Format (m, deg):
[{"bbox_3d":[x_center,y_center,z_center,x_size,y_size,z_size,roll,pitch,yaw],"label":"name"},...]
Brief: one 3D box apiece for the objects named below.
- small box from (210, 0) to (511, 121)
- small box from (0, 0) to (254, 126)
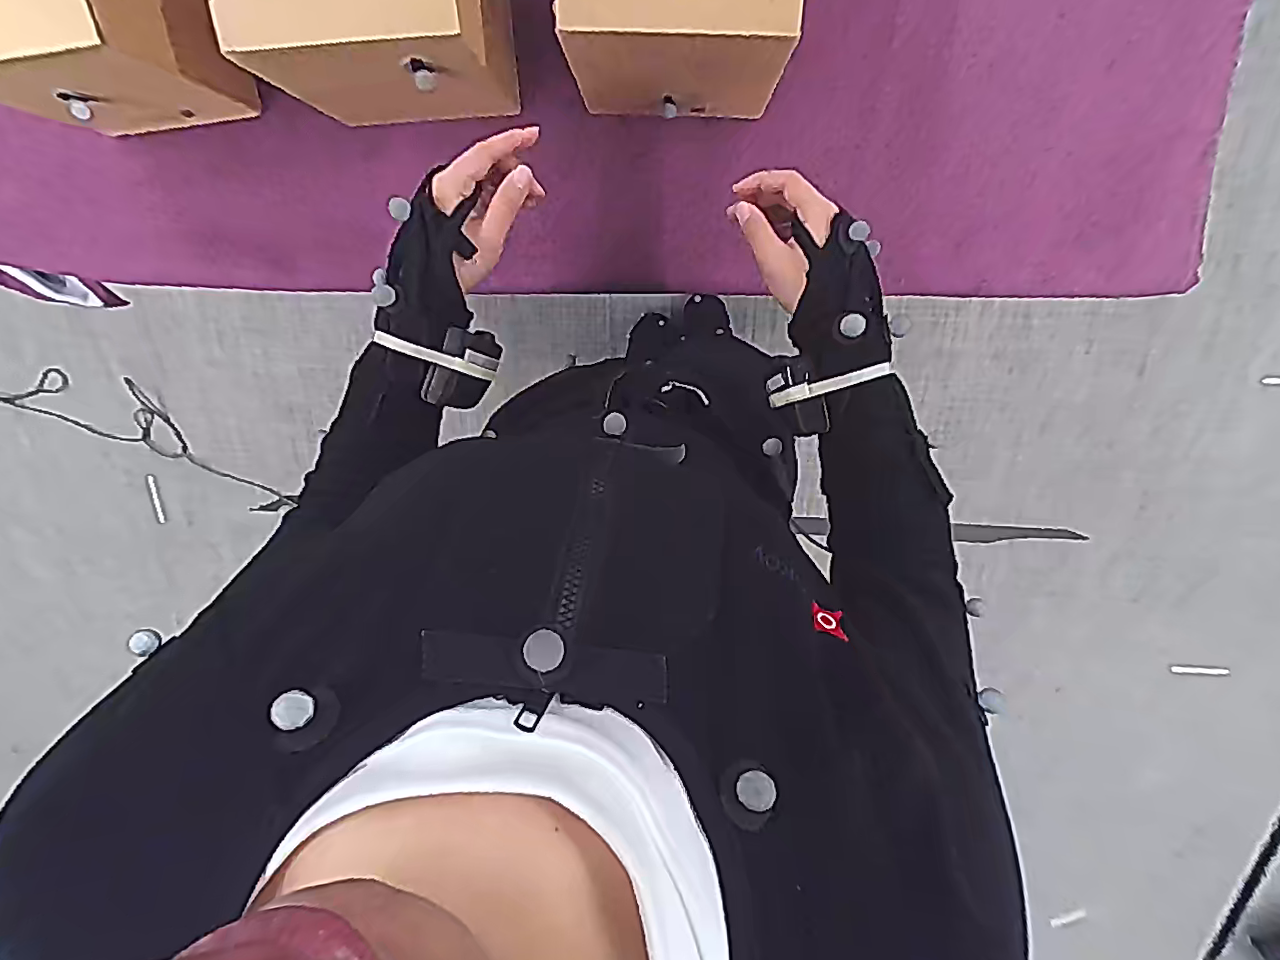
[{"bbox_3d":[-0.208,-0.405,0.425,0.179,0.176,0.168,-2,107,3],"label":"small box"},{"bbox_3d":[-0.464,-0.411,0.438,0.168,0.176,0.179,-5,107,4],"label":"small box"}]
